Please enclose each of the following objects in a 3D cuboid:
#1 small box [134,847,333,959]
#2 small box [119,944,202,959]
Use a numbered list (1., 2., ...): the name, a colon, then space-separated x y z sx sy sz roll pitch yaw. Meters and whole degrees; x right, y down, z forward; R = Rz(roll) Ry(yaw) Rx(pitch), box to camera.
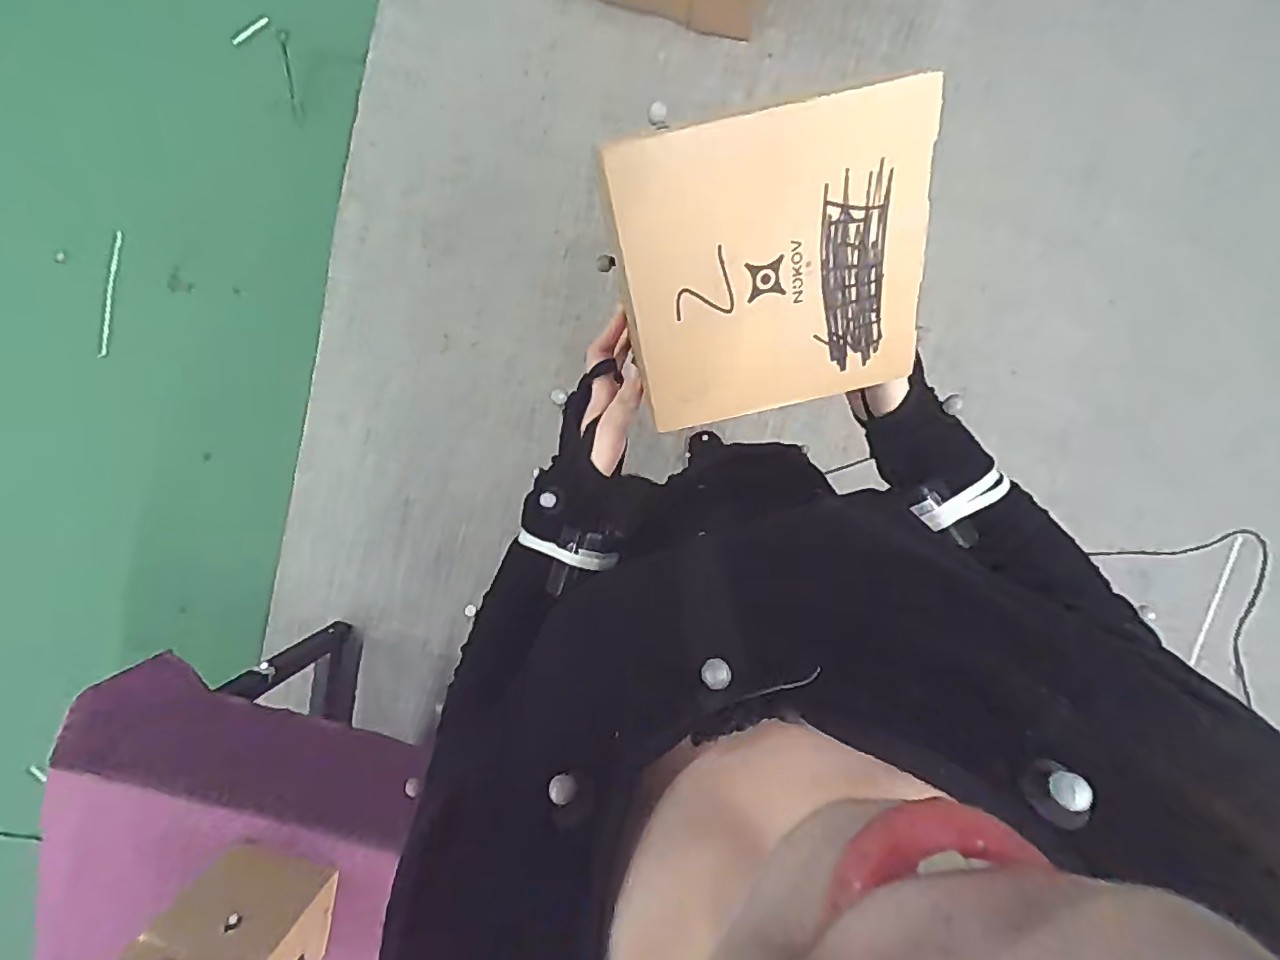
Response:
1. small box: -0.592 0.689 0.797 0.179 0.176 0.168 14 96 4
2. small box: -0.609 0.713 0.635 0.168 0.176 0.179 11 96 4
